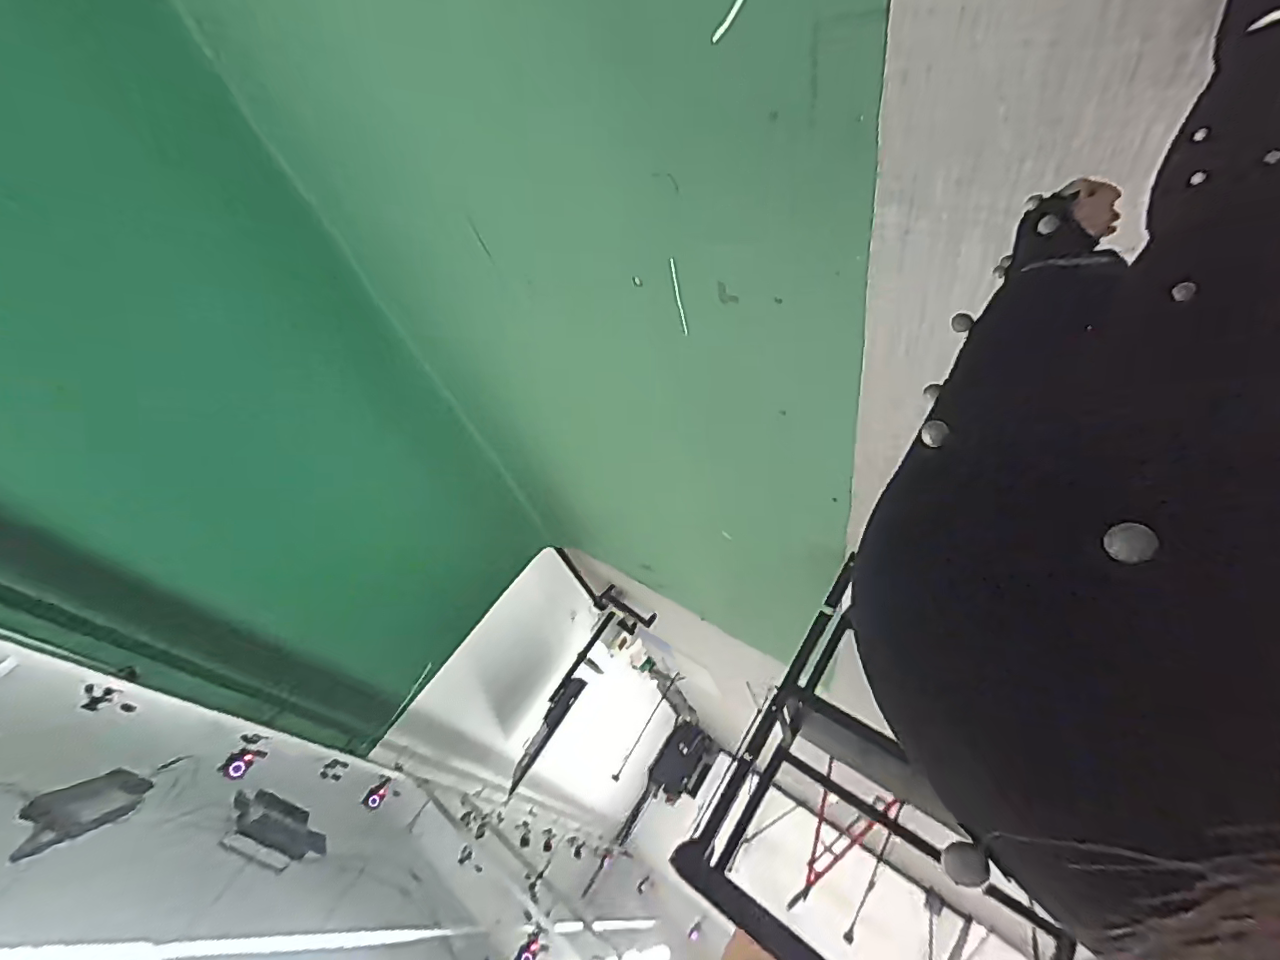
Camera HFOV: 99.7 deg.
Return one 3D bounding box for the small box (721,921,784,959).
[{"bbox_3d":[0.370,1.624,1.814,0.168,0.176,0.179,23,152,32],"label":"small box"}]
